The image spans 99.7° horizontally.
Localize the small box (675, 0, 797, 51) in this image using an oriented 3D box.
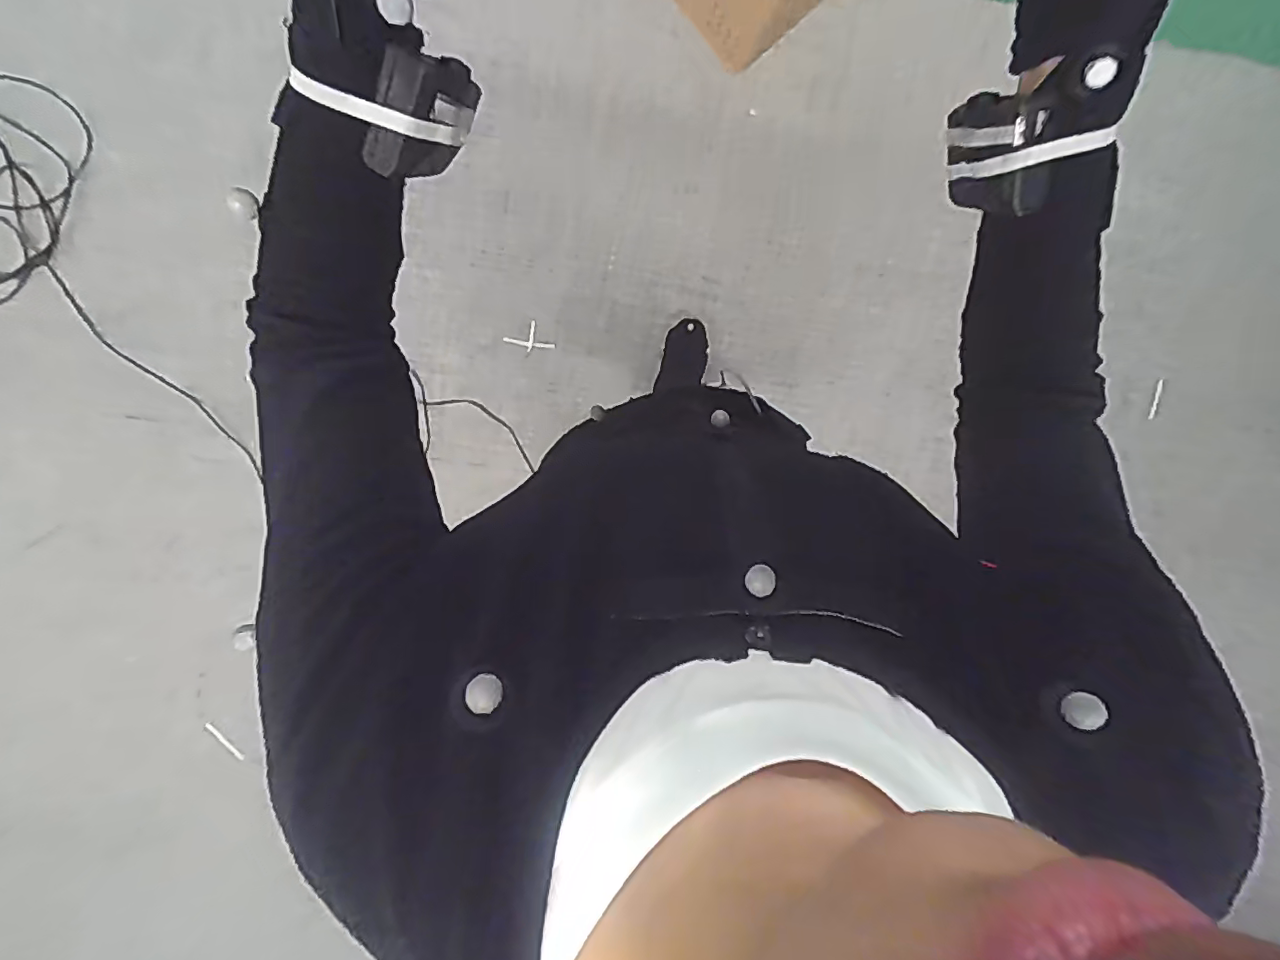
[{"bbox_3d":[0.071,-0.343,0.217,0.179,0.176,0.168,-41,101,1],"label":"small box"}]
